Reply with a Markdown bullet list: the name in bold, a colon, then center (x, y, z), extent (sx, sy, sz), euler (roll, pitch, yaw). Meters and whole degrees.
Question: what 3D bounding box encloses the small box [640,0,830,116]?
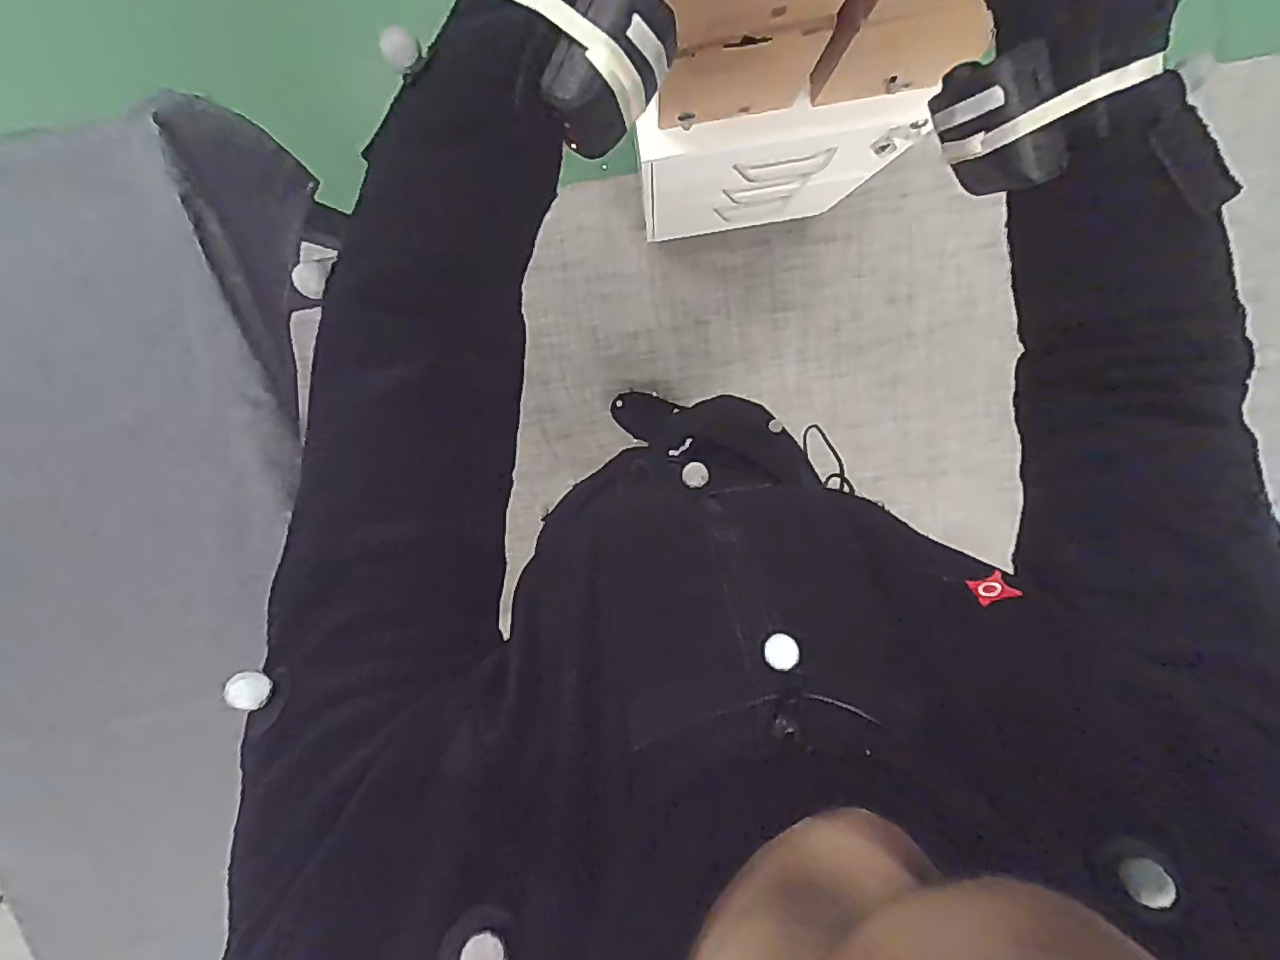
- **small box**: center (0.085, -0.506, 0.556), extent (0.168, 0.176, 0.179), euler (-8, 103, 2)
